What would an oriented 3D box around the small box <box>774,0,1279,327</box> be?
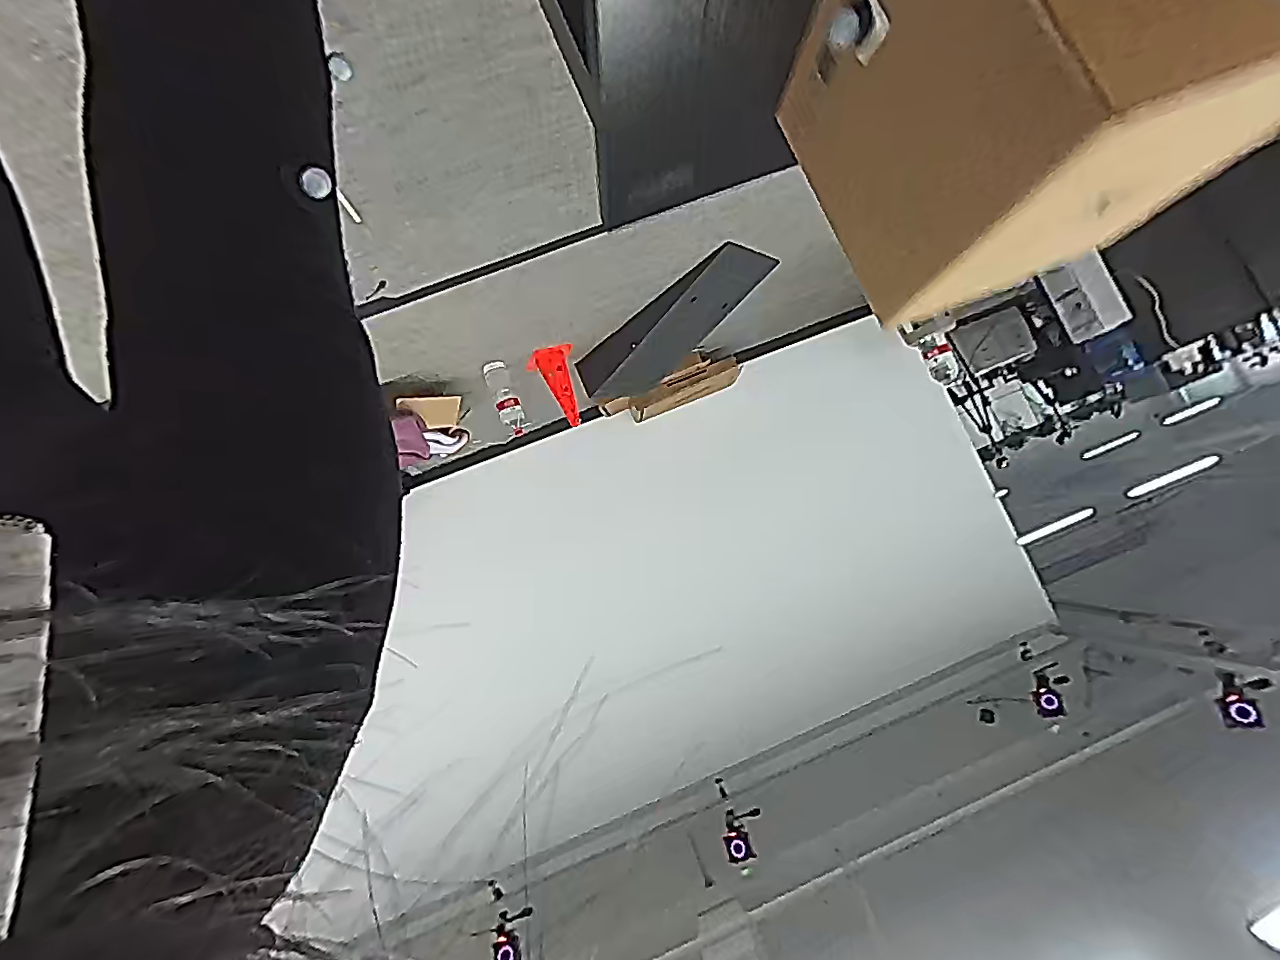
[{"bbox_3d":[0.202,-0.217,0.291,0.179,0.176,0.168,-22,172,-6],"label":"small box"}]
